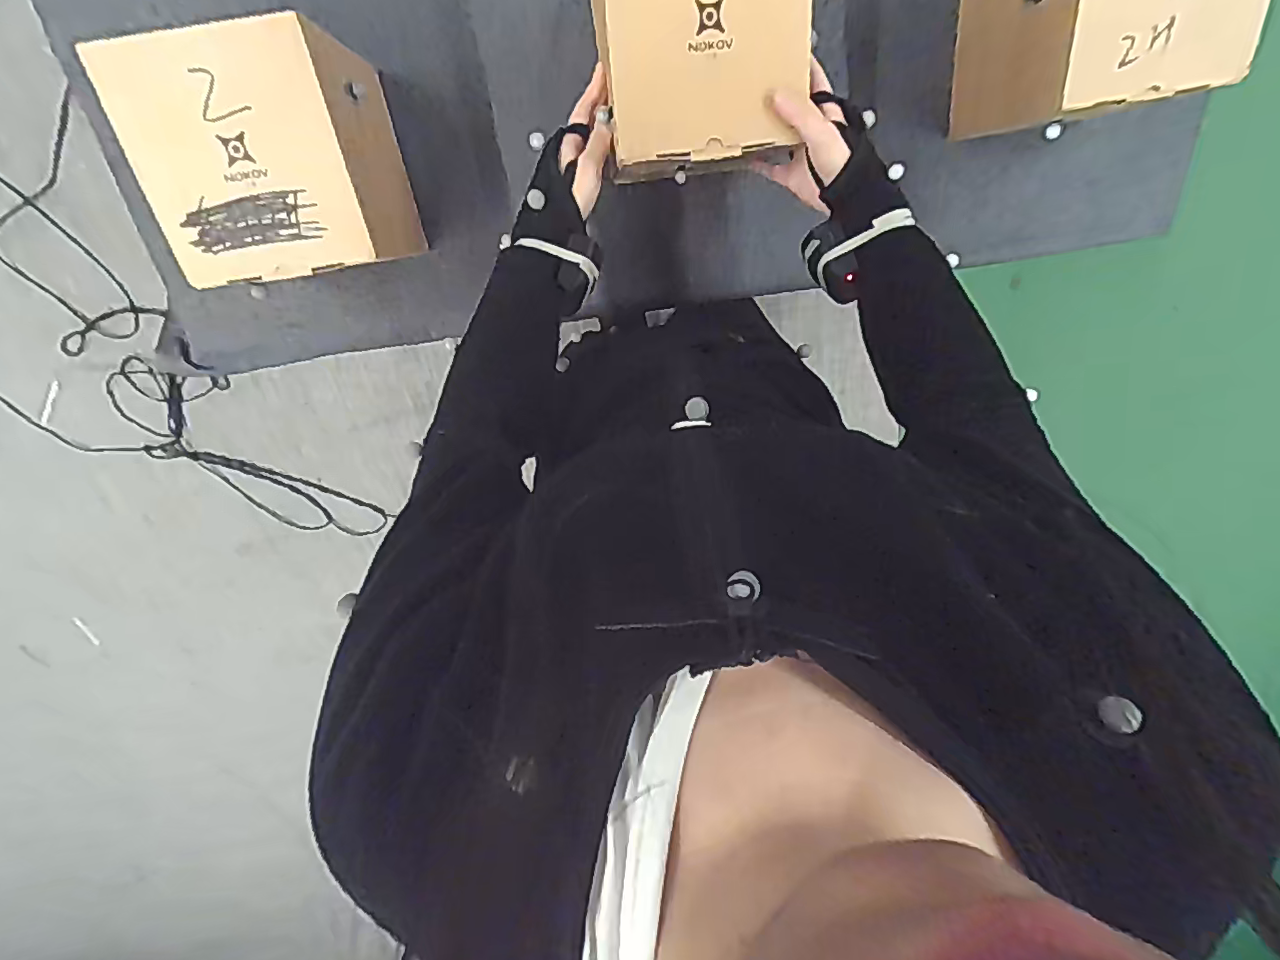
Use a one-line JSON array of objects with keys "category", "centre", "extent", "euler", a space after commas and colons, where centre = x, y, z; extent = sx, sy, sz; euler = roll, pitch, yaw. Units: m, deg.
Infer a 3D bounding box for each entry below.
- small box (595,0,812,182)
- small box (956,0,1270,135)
[{"category": "small box", "centre": [0.050, -0.392, 0.503], "extent": [0.168, 0.176, 0.179], "euler": [-8, 115, 0]}, {"category": "small box", "centre": [0.423, -0.445, 0.500], "extent": [0.168, 0.176, 0.179], "euler": [-9, 115, 1]}]
